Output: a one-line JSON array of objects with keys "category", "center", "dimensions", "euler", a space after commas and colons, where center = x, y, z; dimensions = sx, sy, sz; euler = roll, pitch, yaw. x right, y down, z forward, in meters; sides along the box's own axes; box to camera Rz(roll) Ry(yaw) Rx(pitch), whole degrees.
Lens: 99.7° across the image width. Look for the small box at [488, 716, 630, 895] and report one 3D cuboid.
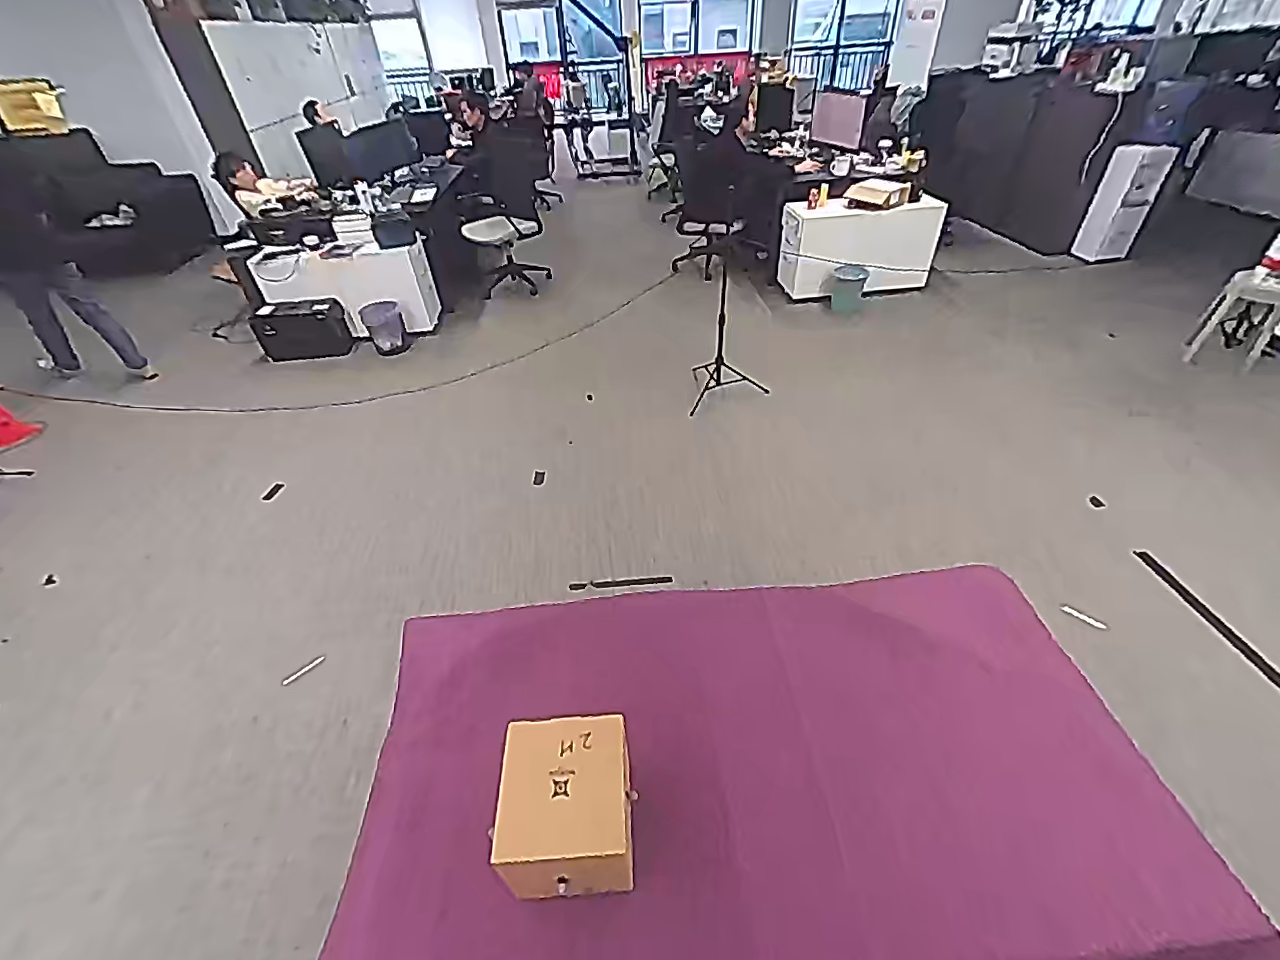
[{"category": "small box", "center": [-0.101, 0.461, 0.761], "dimensions": [0.168, 0.176, 0.179], "euler": [-3, 40, -1]}]
